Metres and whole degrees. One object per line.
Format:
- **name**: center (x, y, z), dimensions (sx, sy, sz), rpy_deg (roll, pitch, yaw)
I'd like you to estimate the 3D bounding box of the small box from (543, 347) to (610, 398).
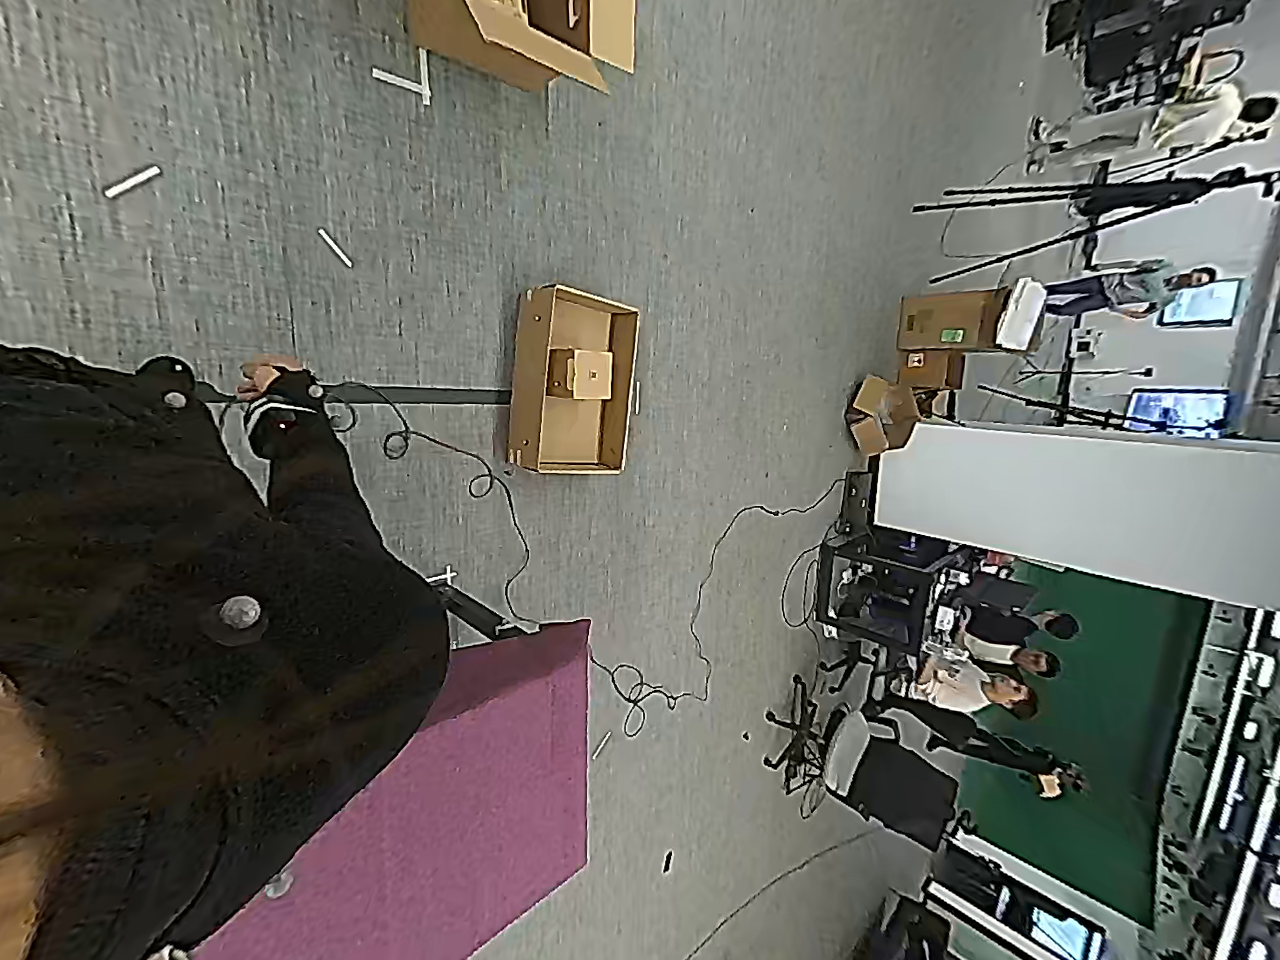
- **small box**: center (-0.229, -0.378, 1.908), dimensions (0.179, 0.176, 0.168), rpy_deg (-8, 106, -45)
